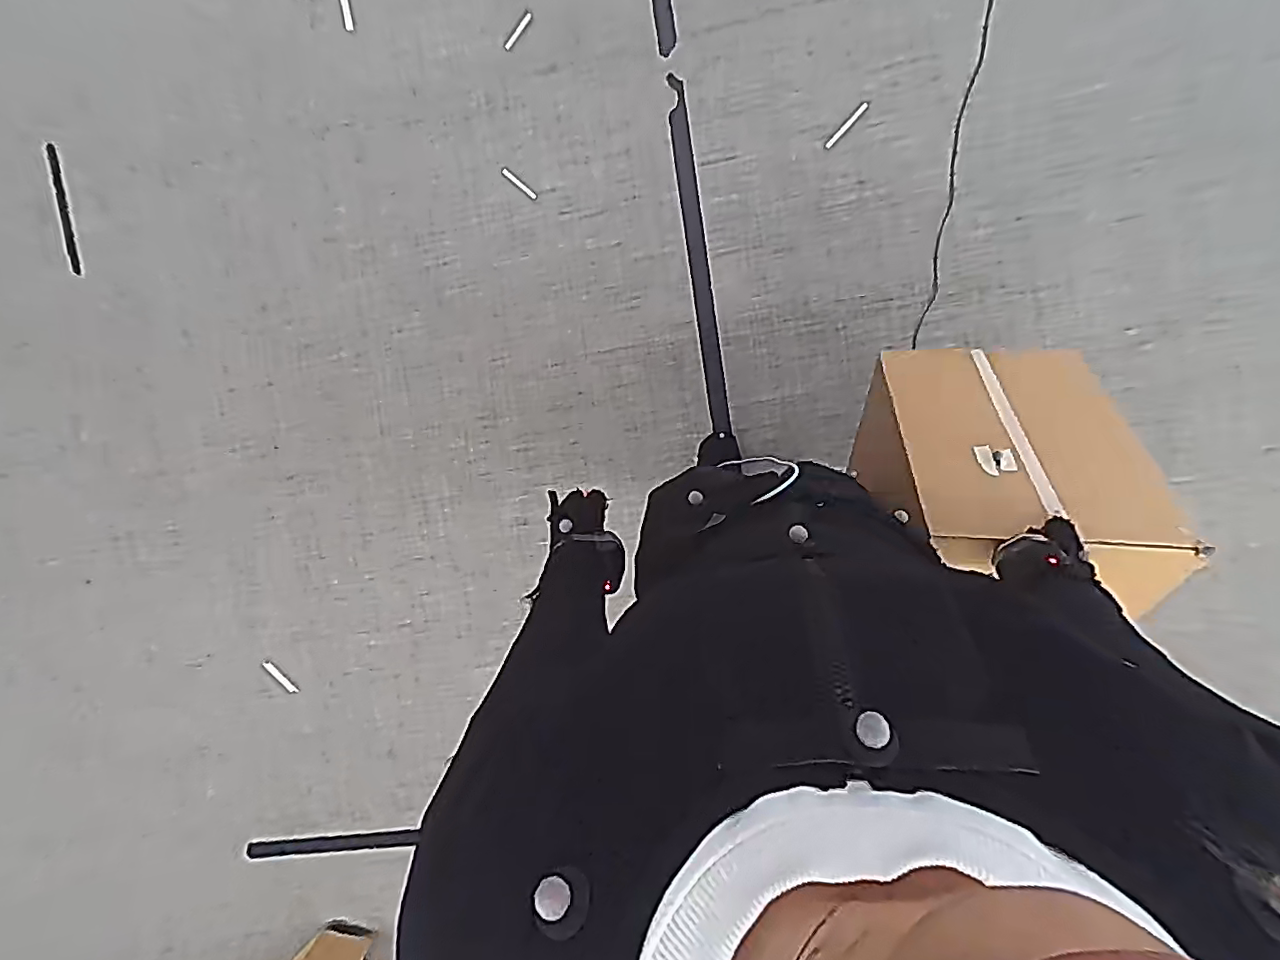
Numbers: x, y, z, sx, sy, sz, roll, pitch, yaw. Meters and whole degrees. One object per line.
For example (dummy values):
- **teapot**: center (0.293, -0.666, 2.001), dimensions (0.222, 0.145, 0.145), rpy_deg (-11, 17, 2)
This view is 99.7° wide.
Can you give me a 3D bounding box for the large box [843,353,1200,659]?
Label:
- **large box**: center (0.551, 0.035, 0.902), dimensions (0.320, 0.320, 0.408), rpy_deg (2, 49, 9)
